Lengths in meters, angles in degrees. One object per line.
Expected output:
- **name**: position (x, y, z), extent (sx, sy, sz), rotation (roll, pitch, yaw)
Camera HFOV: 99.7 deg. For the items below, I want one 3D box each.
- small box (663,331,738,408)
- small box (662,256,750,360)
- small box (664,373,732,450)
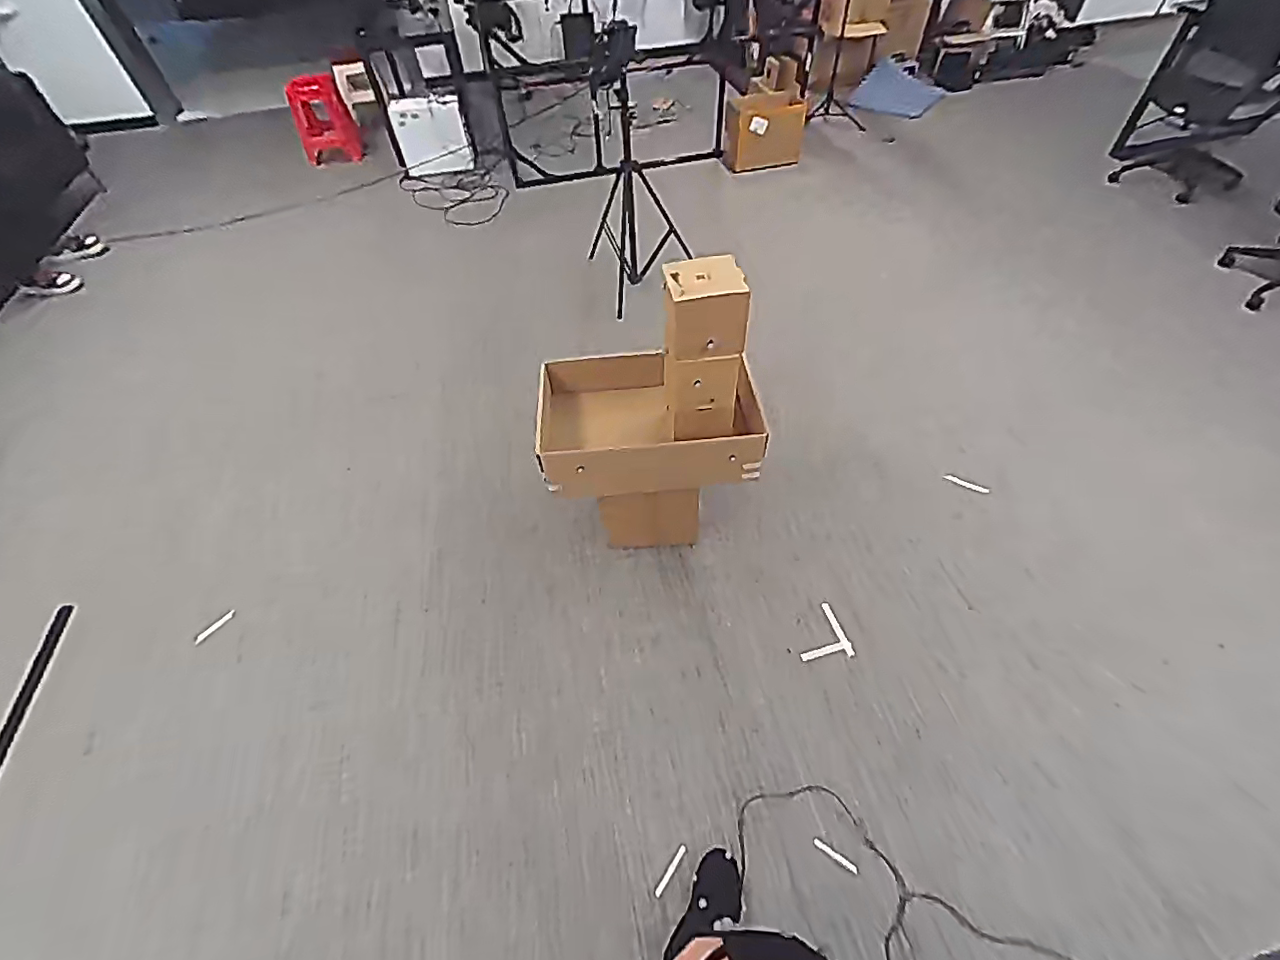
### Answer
- **small box**: position (0.156, -0.303, 1.419), extent (0.168, 0.176, 0.179), rotation (-7, 50, -2)
- **small box**: position (0.149, -0.410, 1.295), extent (0.179, 0.176, 0.168), rotation (-8, 50, -3)
- **small box**: position (0.163, -0.200, 1.544), extent (0.168, 0.176, 0.179), rotation (-7, 50, -2)
